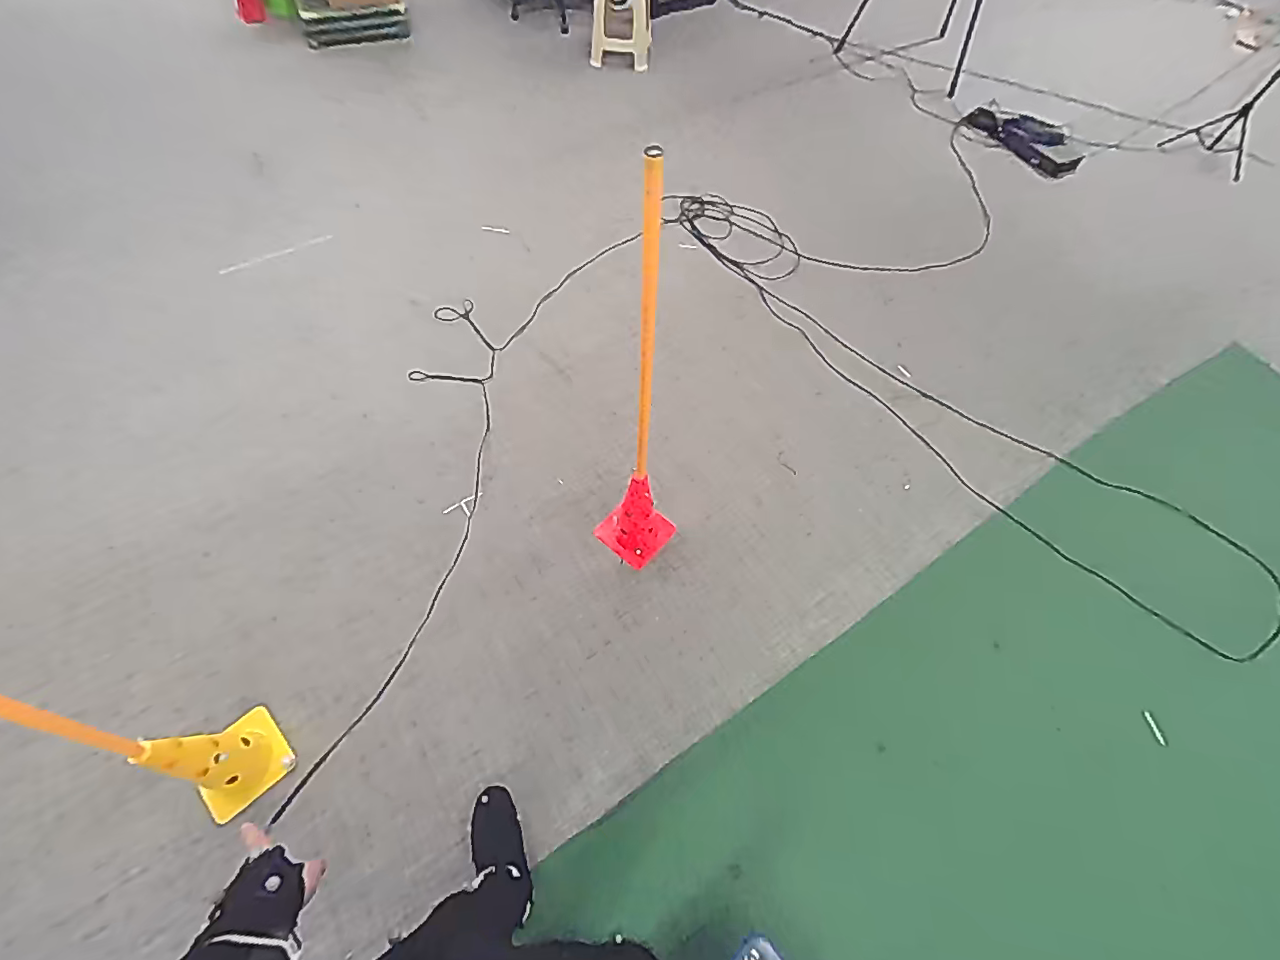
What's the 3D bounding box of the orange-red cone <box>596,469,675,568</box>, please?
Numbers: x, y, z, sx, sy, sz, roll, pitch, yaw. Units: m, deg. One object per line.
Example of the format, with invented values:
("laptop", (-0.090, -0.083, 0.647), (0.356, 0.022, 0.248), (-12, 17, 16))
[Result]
("orange-red cone", (-0.004, 0.075, 1.580), (0.198, 0.360, 0.199), (39, 64, 17))
